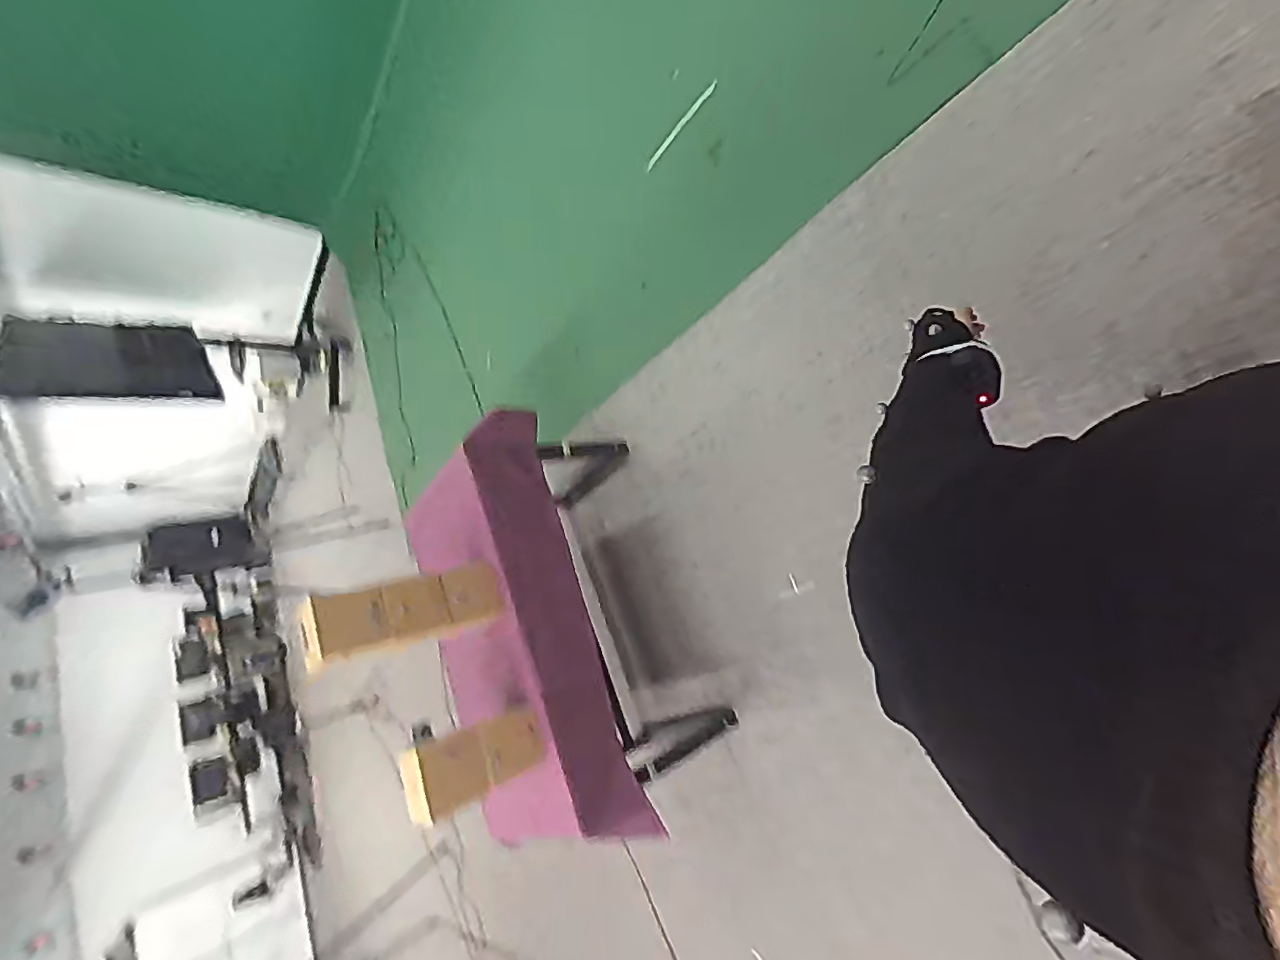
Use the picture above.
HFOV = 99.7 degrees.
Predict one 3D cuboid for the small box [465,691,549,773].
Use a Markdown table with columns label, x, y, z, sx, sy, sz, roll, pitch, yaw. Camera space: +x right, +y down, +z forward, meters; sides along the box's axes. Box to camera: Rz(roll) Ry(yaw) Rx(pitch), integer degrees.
| label | x | y | z | sx | sy | sz | roll | pitch | yaw |
| --- | --- | --- | --- | --- | --- | --- | --- | --- | --- |
| small box | -0.390 | 0.728 | 1.570 | 0.179 | 0.176 | 0.168 | -33 | 72 | 44 |

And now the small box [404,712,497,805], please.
| label | x | y | z | sx | sy | sz | roll | pitch | yaw |
| --- | --- | --- | --- | --- | --- | --- | --- | --- | --- |
| small box | -0.509 | 0.742 | 1.458 | 0.168 | 0.176 | 0.179 | -31 | 73 | 44 |

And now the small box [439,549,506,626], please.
| label | x | y | z | sx | sy | sz | roll | pitch | yaw |
| --- | --- | --- | --- | --- | --- | --- | --- | --- | --- |
| small box | -0.535 | 0.330 | 1.673 | 0.168 | 0.176 | 0.179 | -34 | 70 | 43 |

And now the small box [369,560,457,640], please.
| label | x | y | z | sx | sy | sz | roll | pitch | yaw |
| --- | --- | --- | --- | --- | --- | --- | --- | --- | --- |
| small box | -0.654 | 0.341 | 1.562 | 0.168 | 0.176 | 0.179 | -35 | 71 | 43 |
